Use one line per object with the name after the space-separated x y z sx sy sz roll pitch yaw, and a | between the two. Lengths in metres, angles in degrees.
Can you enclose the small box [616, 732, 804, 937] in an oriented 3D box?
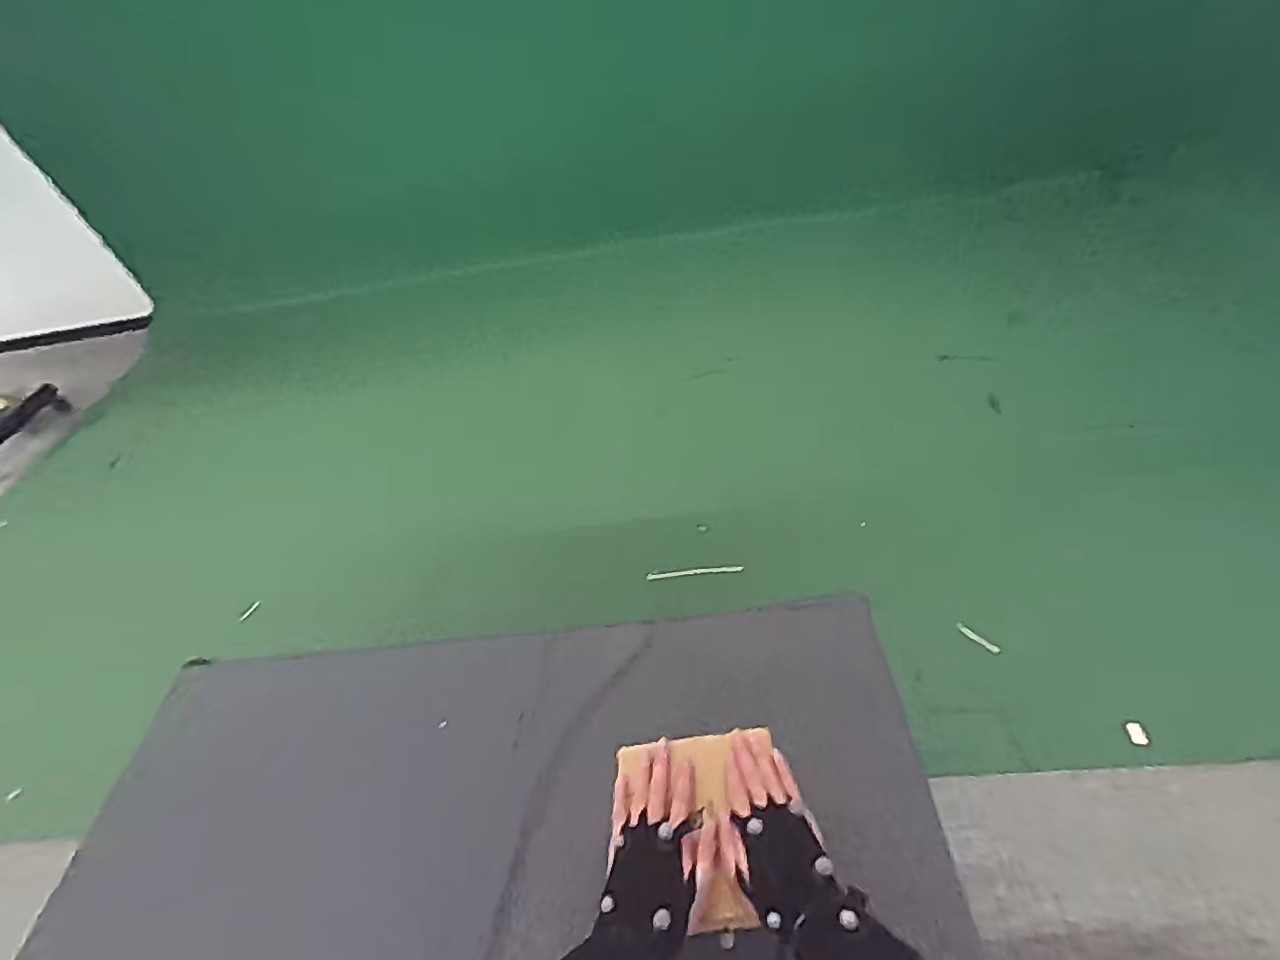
0.076 0.418 0.636 0.179 0.176 0.168 -11 48 2 | small box
